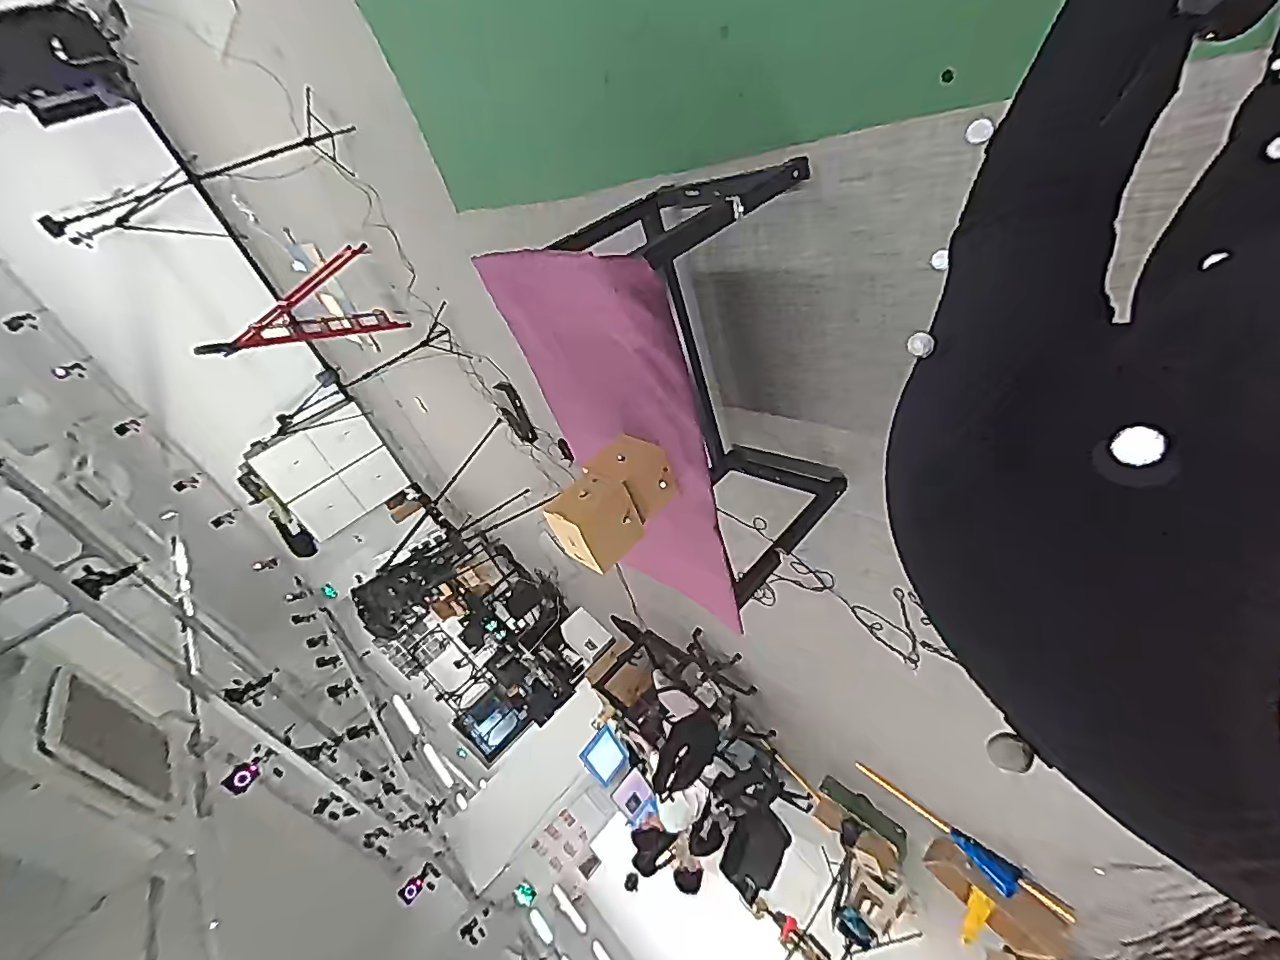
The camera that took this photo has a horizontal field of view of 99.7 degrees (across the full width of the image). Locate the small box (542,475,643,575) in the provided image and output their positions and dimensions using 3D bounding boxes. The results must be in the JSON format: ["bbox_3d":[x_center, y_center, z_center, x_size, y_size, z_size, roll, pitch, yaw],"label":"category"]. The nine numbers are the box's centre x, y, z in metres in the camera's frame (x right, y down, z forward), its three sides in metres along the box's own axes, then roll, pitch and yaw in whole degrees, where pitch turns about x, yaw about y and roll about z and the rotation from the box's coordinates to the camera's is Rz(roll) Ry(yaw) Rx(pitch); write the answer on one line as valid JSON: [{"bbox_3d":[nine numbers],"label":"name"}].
[{"bbox_3d":[-0.120,0.110,1.415,0.168,0.176,0.179,19,140,47],"label":"small box"}]

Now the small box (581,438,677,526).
[{"bbox_3d":[-0.027,0.003,1.501,0.179,0.176,0.168,22,143,44],"label":"small box"}]
